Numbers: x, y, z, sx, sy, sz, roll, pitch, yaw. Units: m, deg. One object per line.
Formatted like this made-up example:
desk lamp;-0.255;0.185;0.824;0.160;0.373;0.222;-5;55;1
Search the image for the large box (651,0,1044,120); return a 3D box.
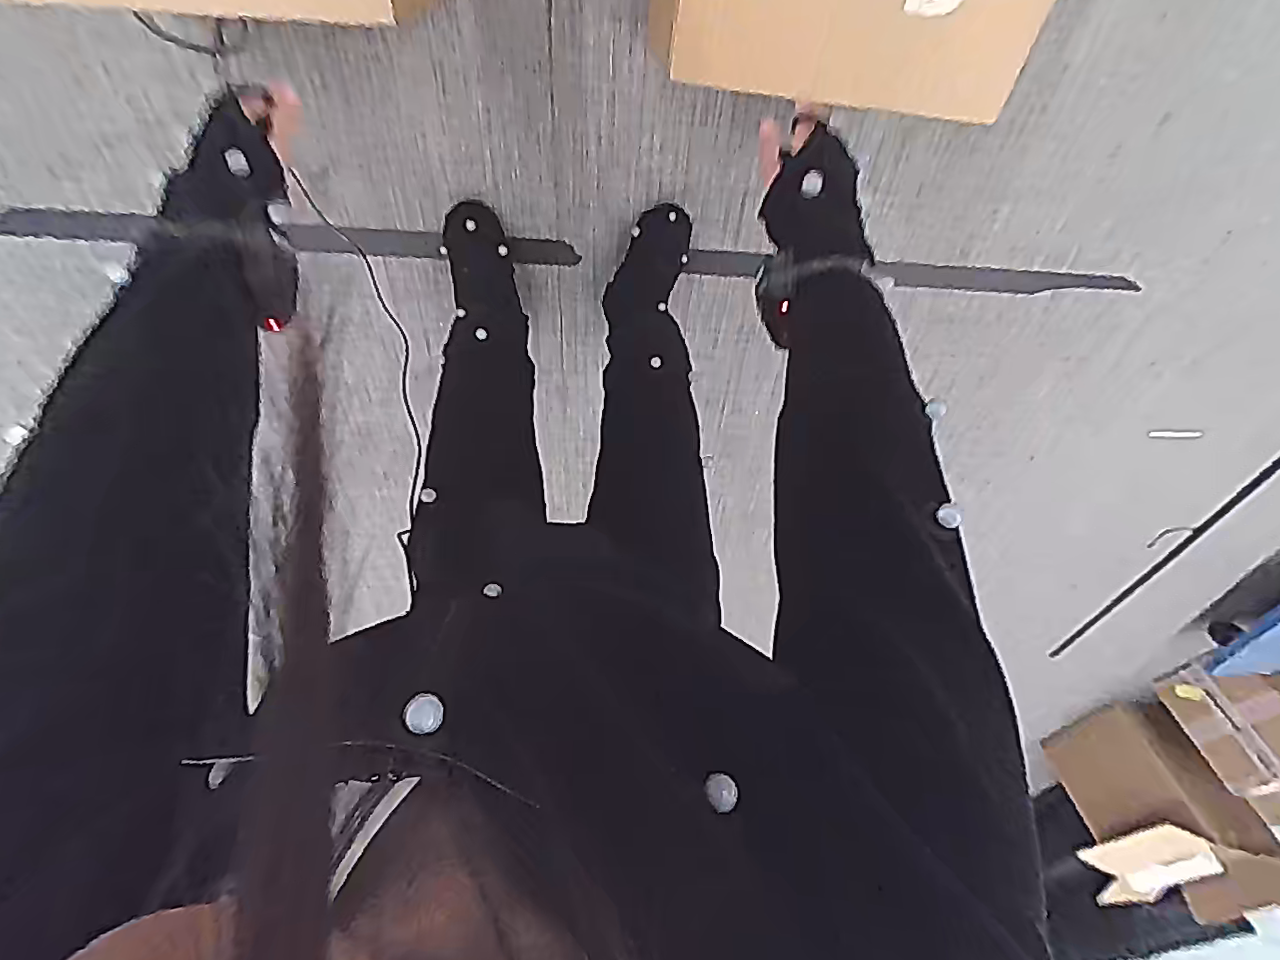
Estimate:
large box;0.239;-0.663;0.652;0.408;0.320;0.320;2;133;-9
